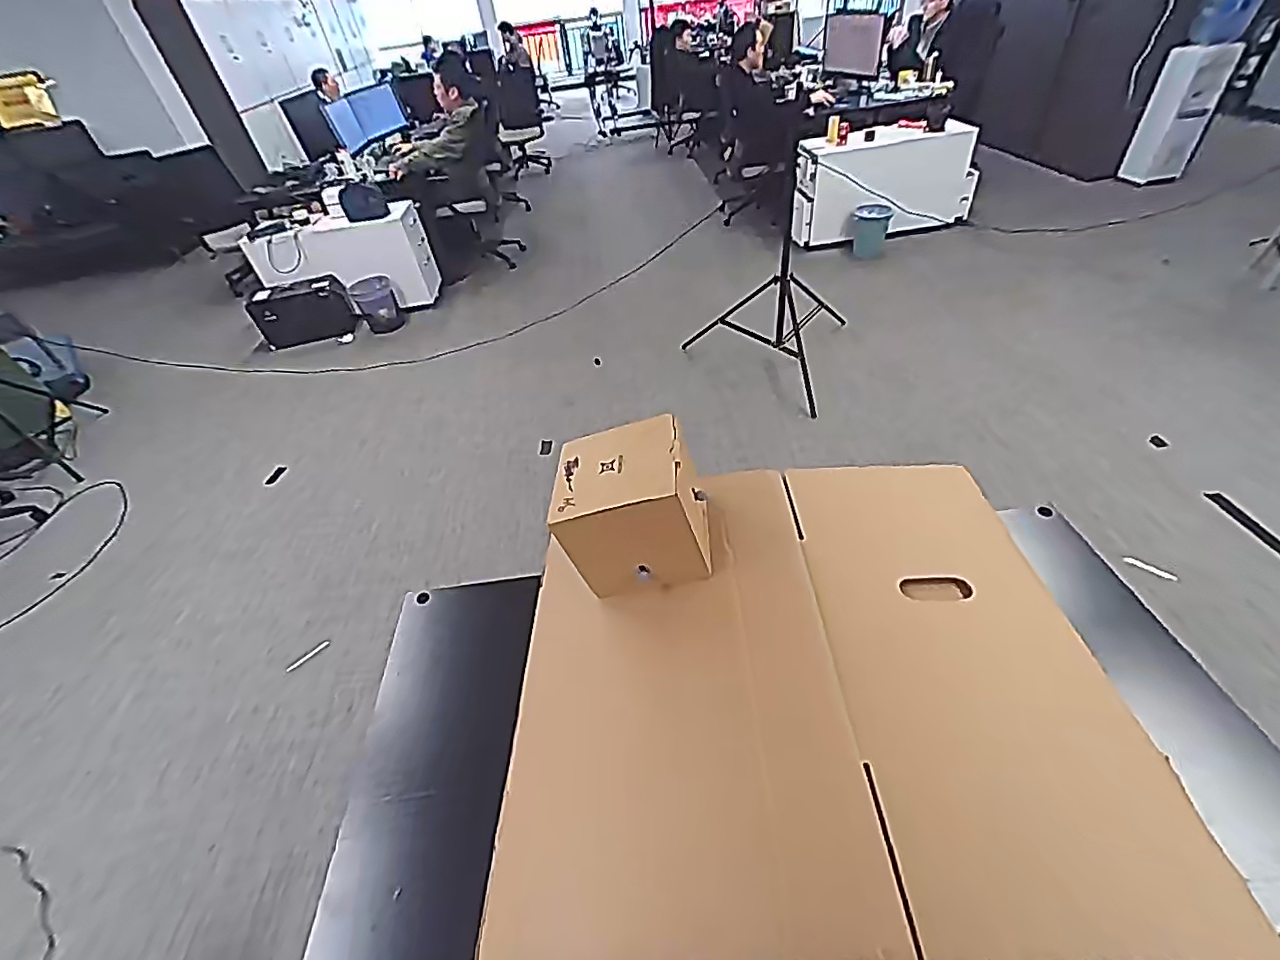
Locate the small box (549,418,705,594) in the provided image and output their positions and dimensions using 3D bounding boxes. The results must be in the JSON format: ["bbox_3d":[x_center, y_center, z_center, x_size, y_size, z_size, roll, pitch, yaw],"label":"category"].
[{"bbox_3d":[-0.007,0.042,0.778,0.179,0.176,0.168,-13,40,14],"label":"small box"}]
